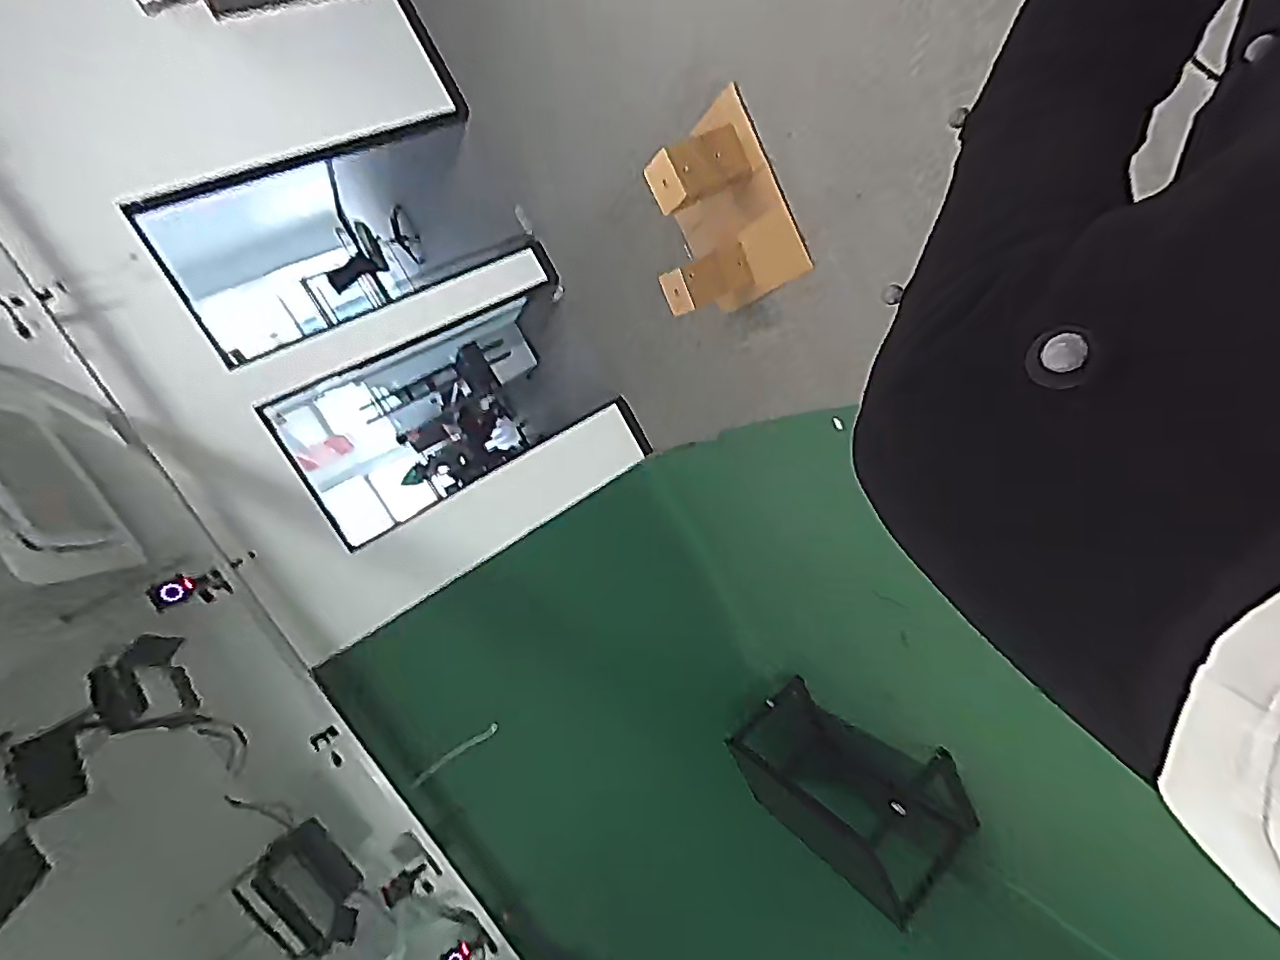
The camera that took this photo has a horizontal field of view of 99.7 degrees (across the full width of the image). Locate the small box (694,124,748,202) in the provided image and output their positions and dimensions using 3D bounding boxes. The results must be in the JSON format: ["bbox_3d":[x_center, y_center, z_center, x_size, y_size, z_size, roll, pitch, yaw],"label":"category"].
[{"bbox_3d":[0.270,-1.179,2.011,0.179,0.176,0.168,62,158,-12],"label":"small box"}]

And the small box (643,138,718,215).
[{"bbox_3d":[0.147,-1.097,1.945,0.179,0.176,0.168,60,157,-12],"label":"small box"}]

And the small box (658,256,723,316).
[{"bbox_3d":[0.208,-0.797,2.208,0.168,0.176,0.179,12,131,62],"label":"small box"}]

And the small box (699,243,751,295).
[{"bbox_3d":[0.336,-0.879,2.275,0.168,0.176,0.179,12,131,61],"label":"small box"}]
